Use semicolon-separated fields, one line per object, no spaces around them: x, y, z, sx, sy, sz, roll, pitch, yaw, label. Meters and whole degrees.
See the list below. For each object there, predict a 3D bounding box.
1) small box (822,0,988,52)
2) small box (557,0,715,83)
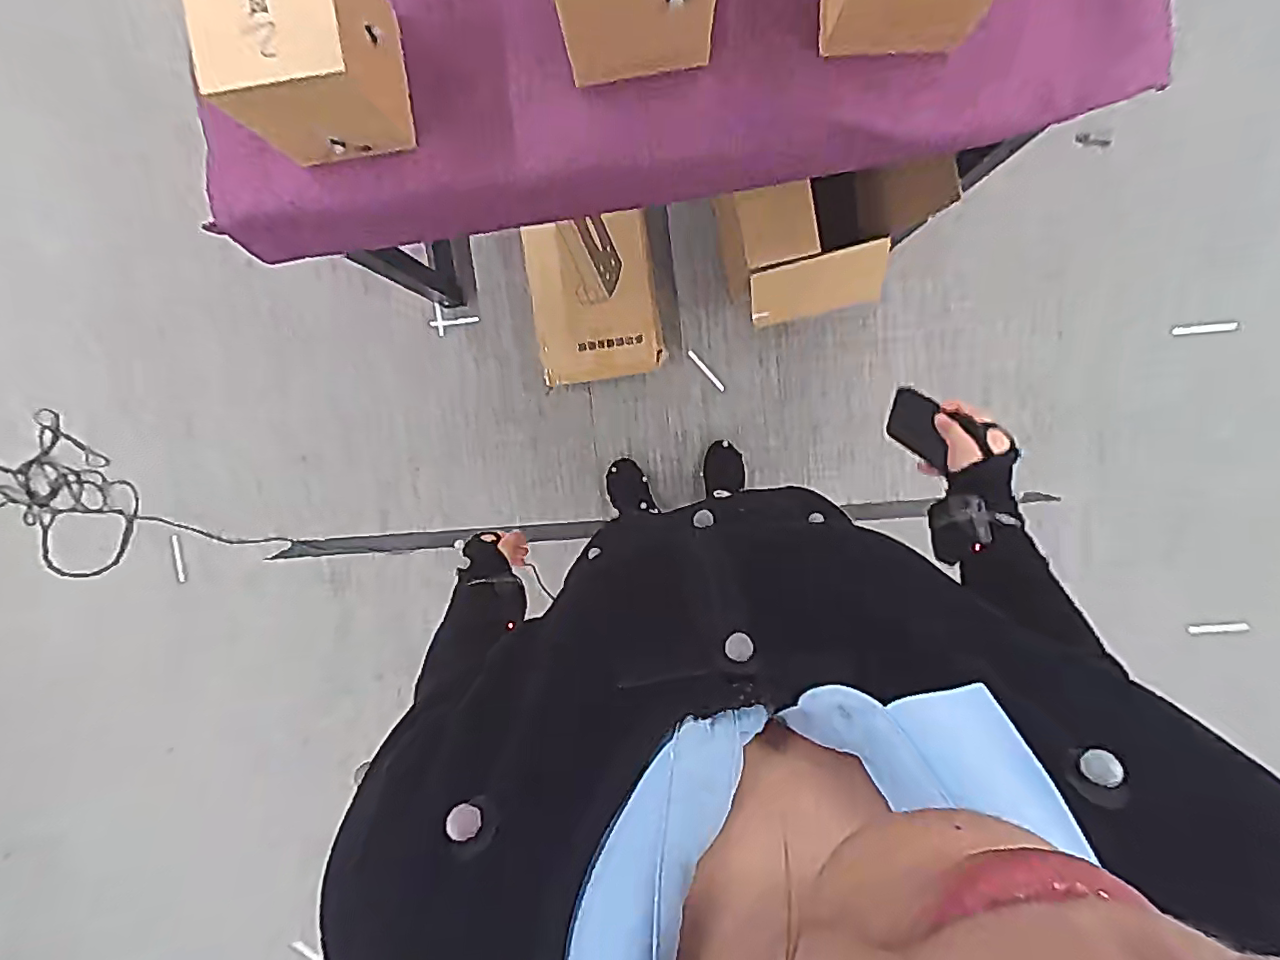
0.309;-0.613;0.596;0.179;0.176;0.168;0;96;3;small box
-0.008;-0.597;0.613;0.179;0.176;0.168;-7;93;4;small box
